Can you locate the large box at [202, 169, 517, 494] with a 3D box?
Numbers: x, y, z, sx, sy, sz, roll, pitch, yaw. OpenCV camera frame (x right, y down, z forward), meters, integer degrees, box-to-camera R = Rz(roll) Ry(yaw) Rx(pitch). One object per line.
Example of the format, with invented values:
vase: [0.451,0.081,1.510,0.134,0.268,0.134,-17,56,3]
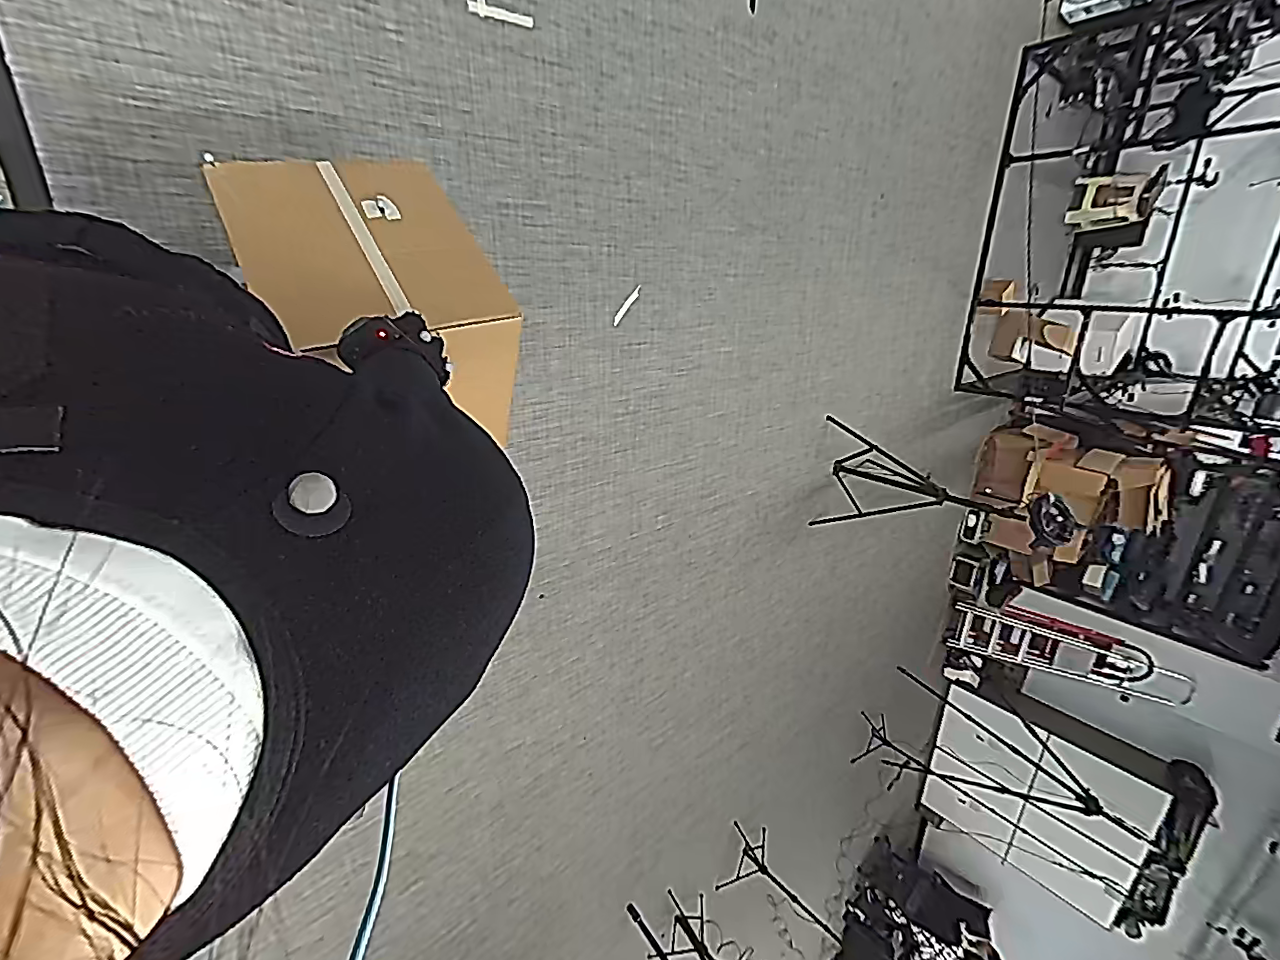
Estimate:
large box: [-0.445,-0.252,0.900,0.320,0.408,0.320,-21,154,-32]
